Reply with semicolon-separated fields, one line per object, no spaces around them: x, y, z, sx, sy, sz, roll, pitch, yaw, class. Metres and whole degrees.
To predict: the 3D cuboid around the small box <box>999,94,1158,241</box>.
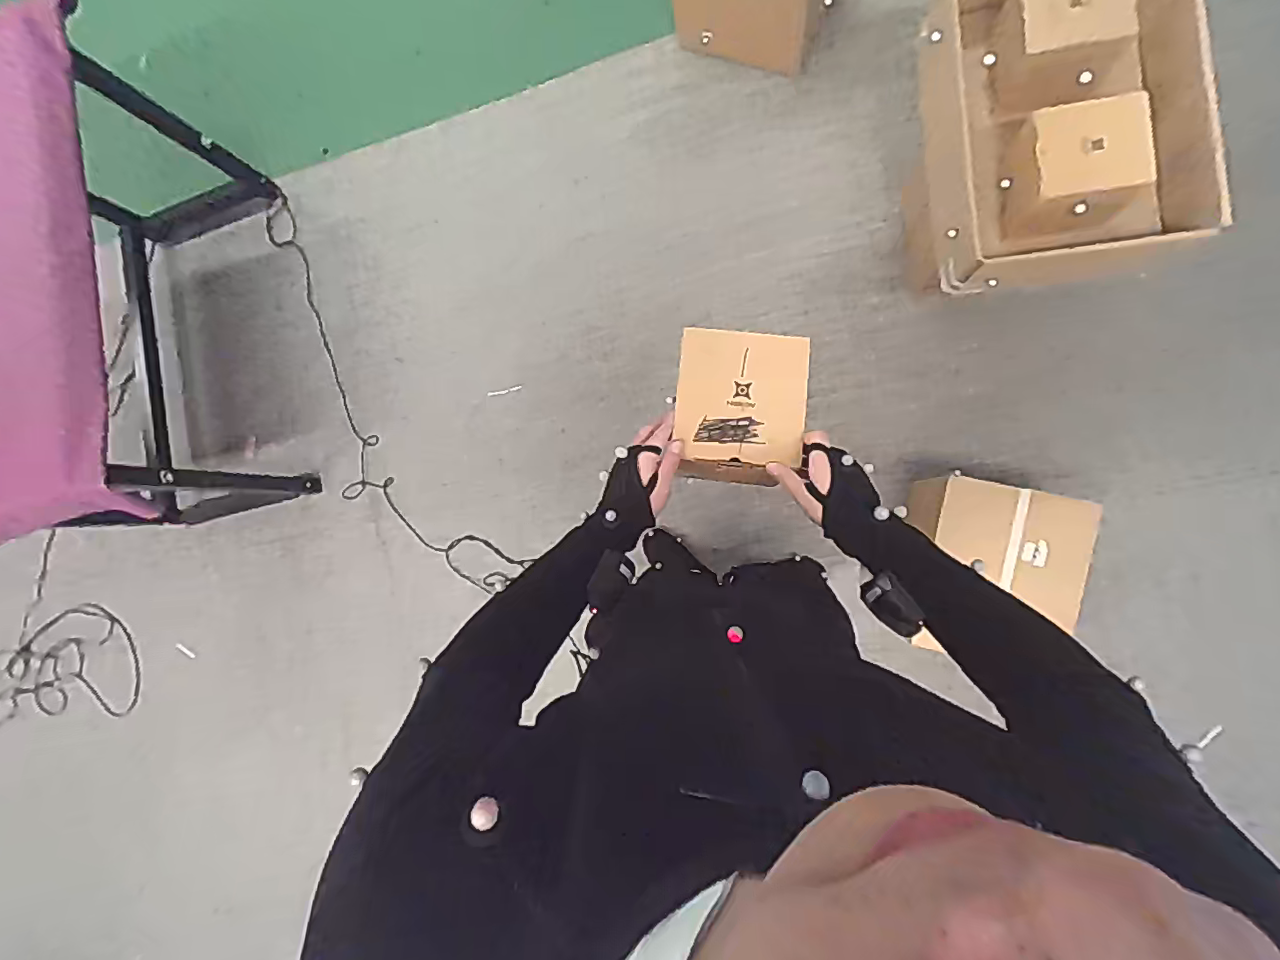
0.818;-0.579;1.026;0.179;0.176;0.168;-3;86;13;small box

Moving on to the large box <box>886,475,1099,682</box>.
0.837;0.223;1.337;0.320;0.320;0.408;13;89;12;large box

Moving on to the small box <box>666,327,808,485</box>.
0.128;-0.093;0.757;0.168;0.176;0.179;5;81;3;small box
